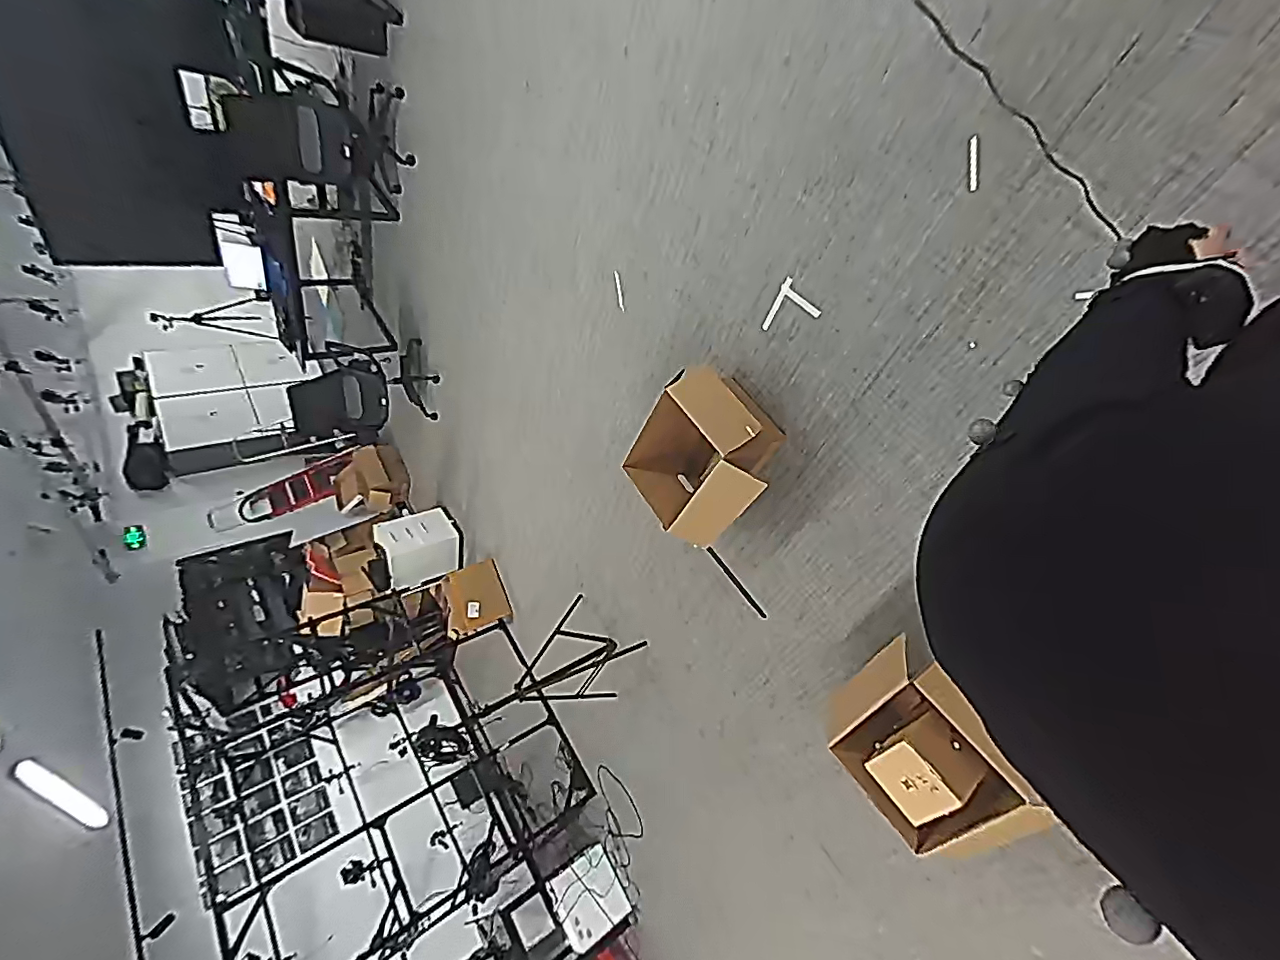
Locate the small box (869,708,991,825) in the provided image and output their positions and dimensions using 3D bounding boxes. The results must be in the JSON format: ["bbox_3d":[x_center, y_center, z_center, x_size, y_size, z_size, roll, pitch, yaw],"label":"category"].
[{"bbox_3d":[0.713,0.699,1.328,0.168,0.176,0.179,50,138,28],"label":"small box"}]
